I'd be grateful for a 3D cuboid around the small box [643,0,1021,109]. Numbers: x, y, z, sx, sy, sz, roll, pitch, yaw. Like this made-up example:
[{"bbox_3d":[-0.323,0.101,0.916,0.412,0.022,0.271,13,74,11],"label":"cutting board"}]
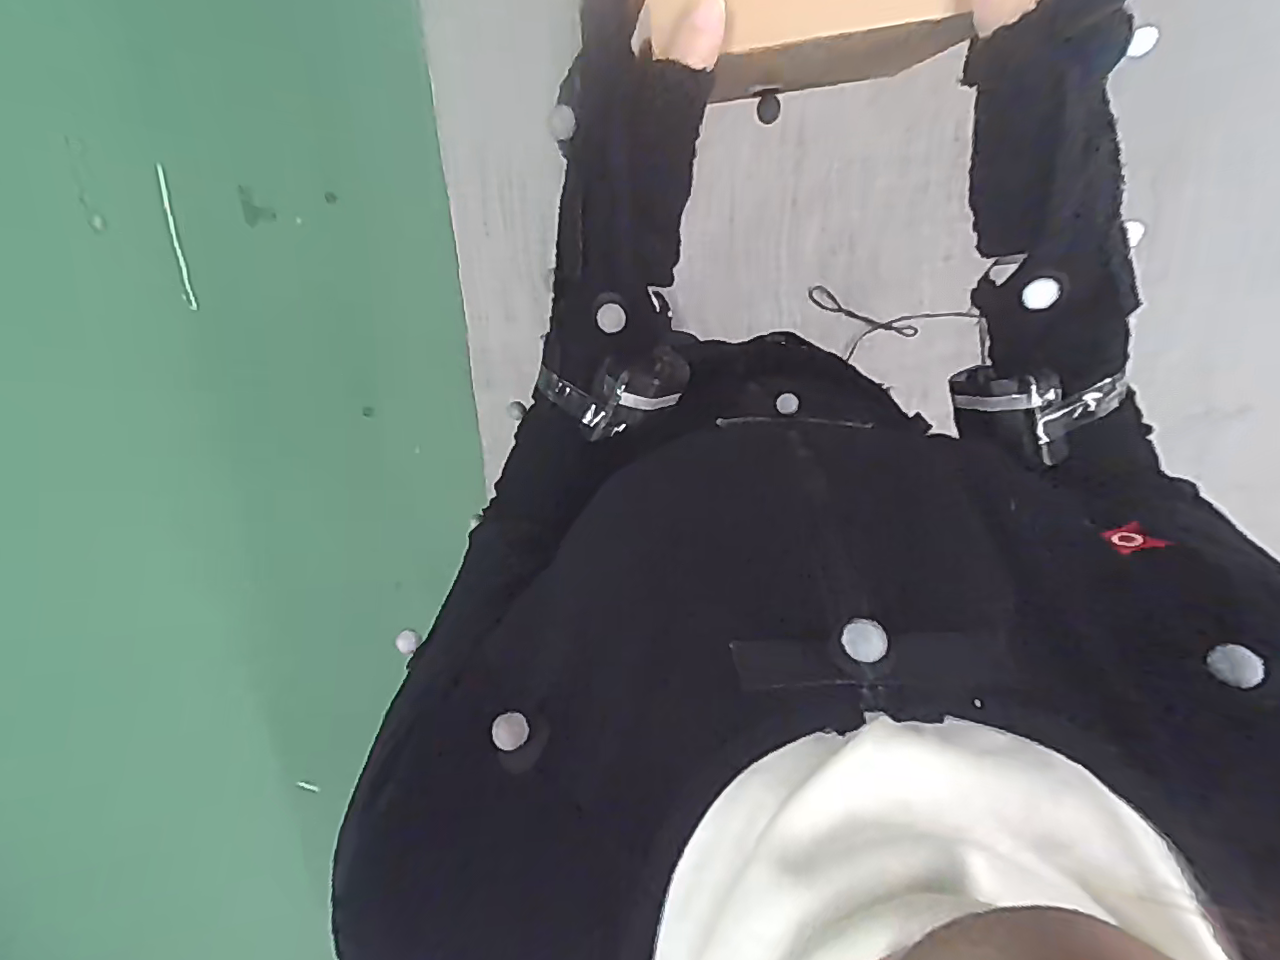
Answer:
[{"bbox_3d":[0.079,-0.312,0.272,0.168,0.176,0.179,-4,117,5],"label":"small box"}]
